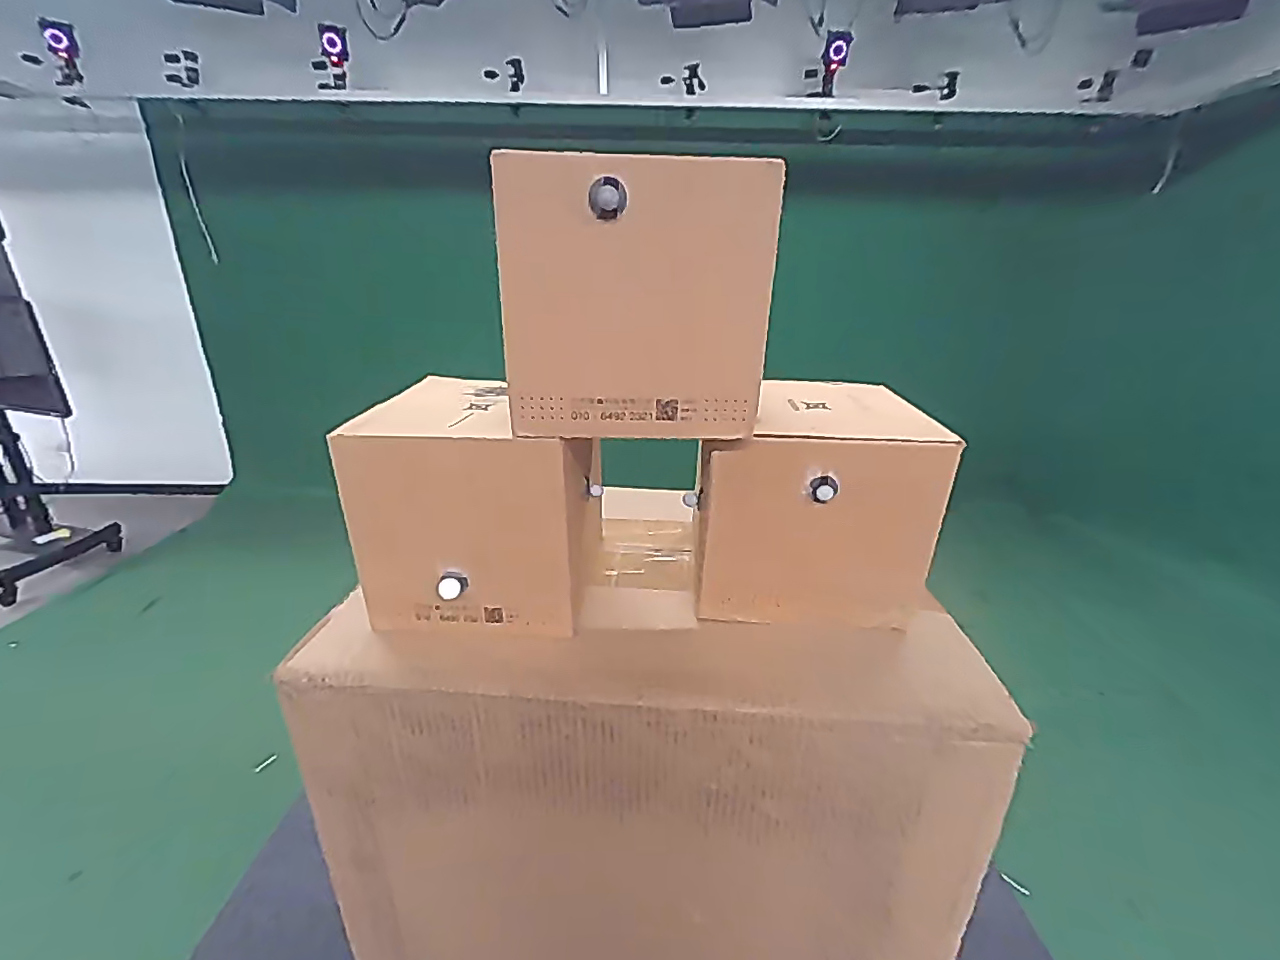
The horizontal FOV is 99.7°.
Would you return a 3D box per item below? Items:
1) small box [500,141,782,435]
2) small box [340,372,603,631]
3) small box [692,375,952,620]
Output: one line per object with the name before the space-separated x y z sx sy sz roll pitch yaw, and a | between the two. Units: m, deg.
small box | -0.004 -0.142 0.414 0.168 0.176 0.179 1 23 -2
small box | -0.125 0.007 0.478 0.168 0.176 0.179 2 24 4
small box | 0.139 0.008 0.488 0.179 0.176 0.168 4 24 2
